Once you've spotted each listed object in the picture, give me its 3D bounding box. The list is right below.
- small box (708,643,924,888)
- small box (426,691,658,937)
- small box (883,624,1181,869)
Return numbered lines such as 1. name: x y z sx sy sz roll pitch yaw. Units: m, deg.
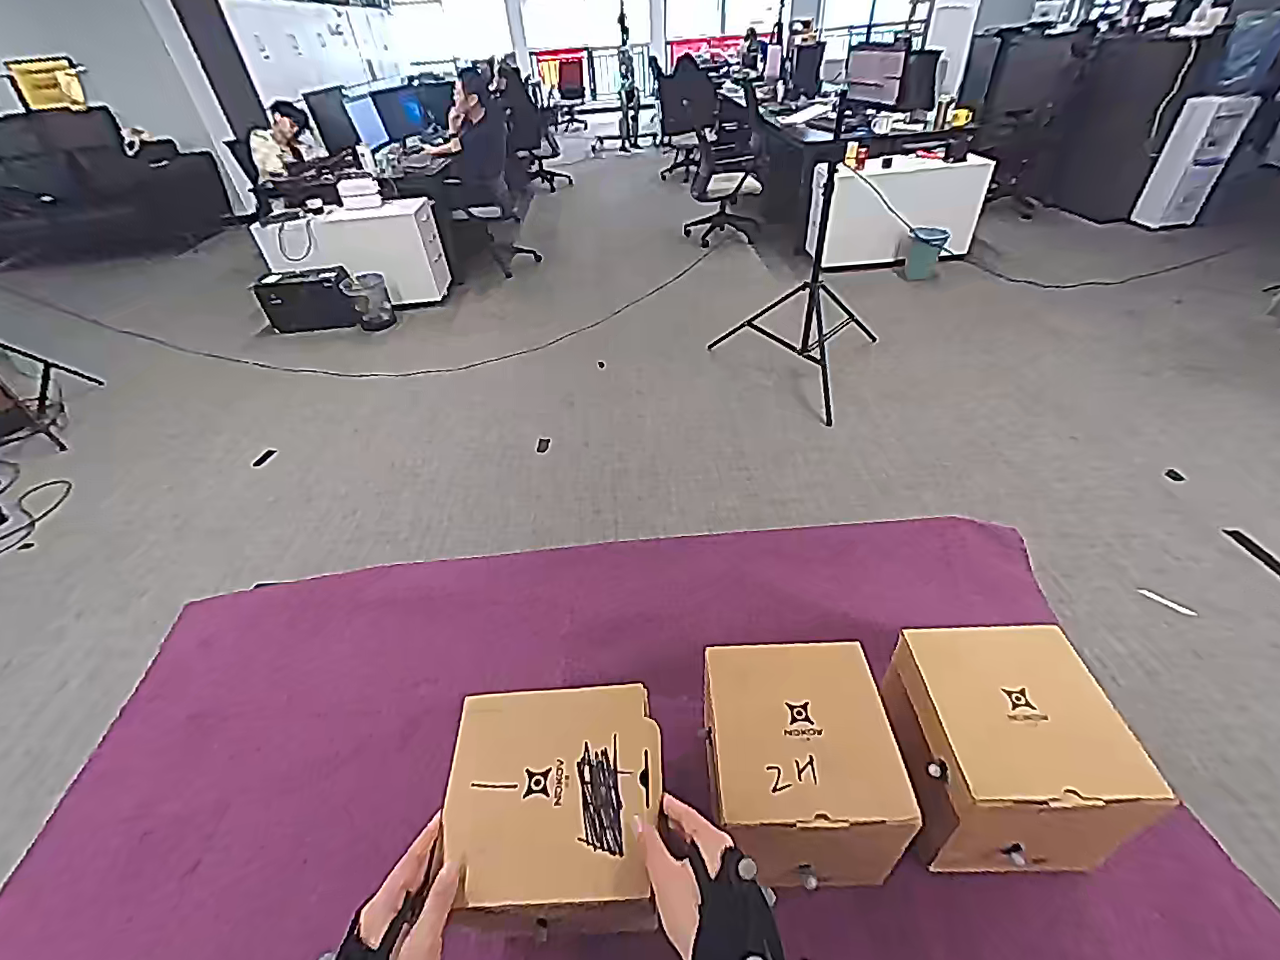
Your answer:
1. small box: 0.159 0.293 0.563 0.168 0.176 0.179 -3 39 3
2. small box: -0.073 0.319 0.517 0.179 0.176 0.168 -4 44 2
3. small box: 0.369 0.273 0.561 0.168 0.176 0.179 -4 39 3
